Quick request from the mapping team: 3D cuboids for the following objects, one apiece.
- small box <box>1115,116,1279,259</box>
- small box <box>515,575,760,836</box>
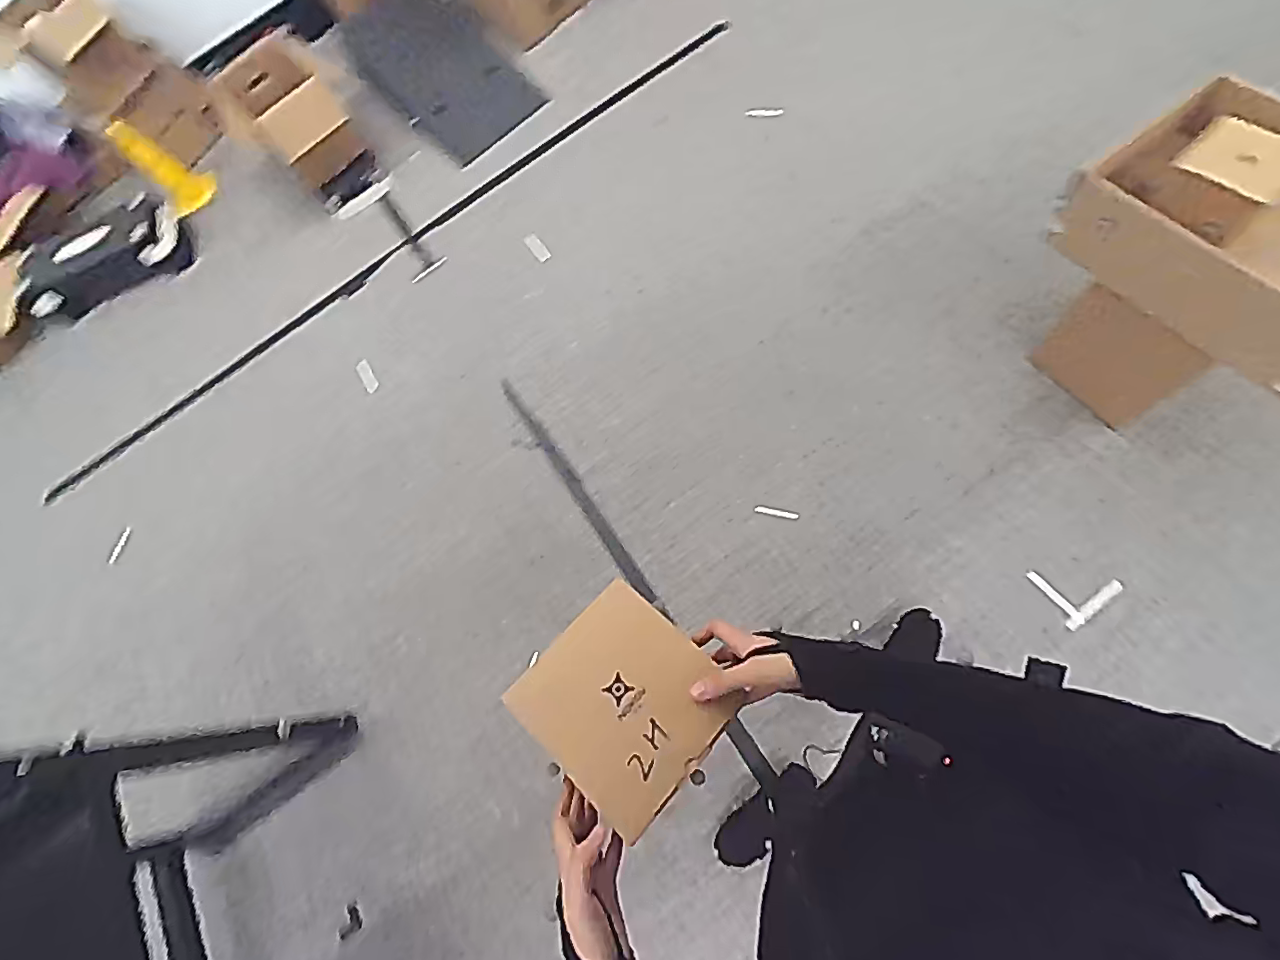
[{"bbox_3d":[1.163,-0.594,1.119,0.168,0.176,0.179,-43,68,-6],"label":"small box"},{"bbox_3d":[-0.001,0.238,0.578,0.179,0.176,0.168,39,71,20],"label":"small box"}]
